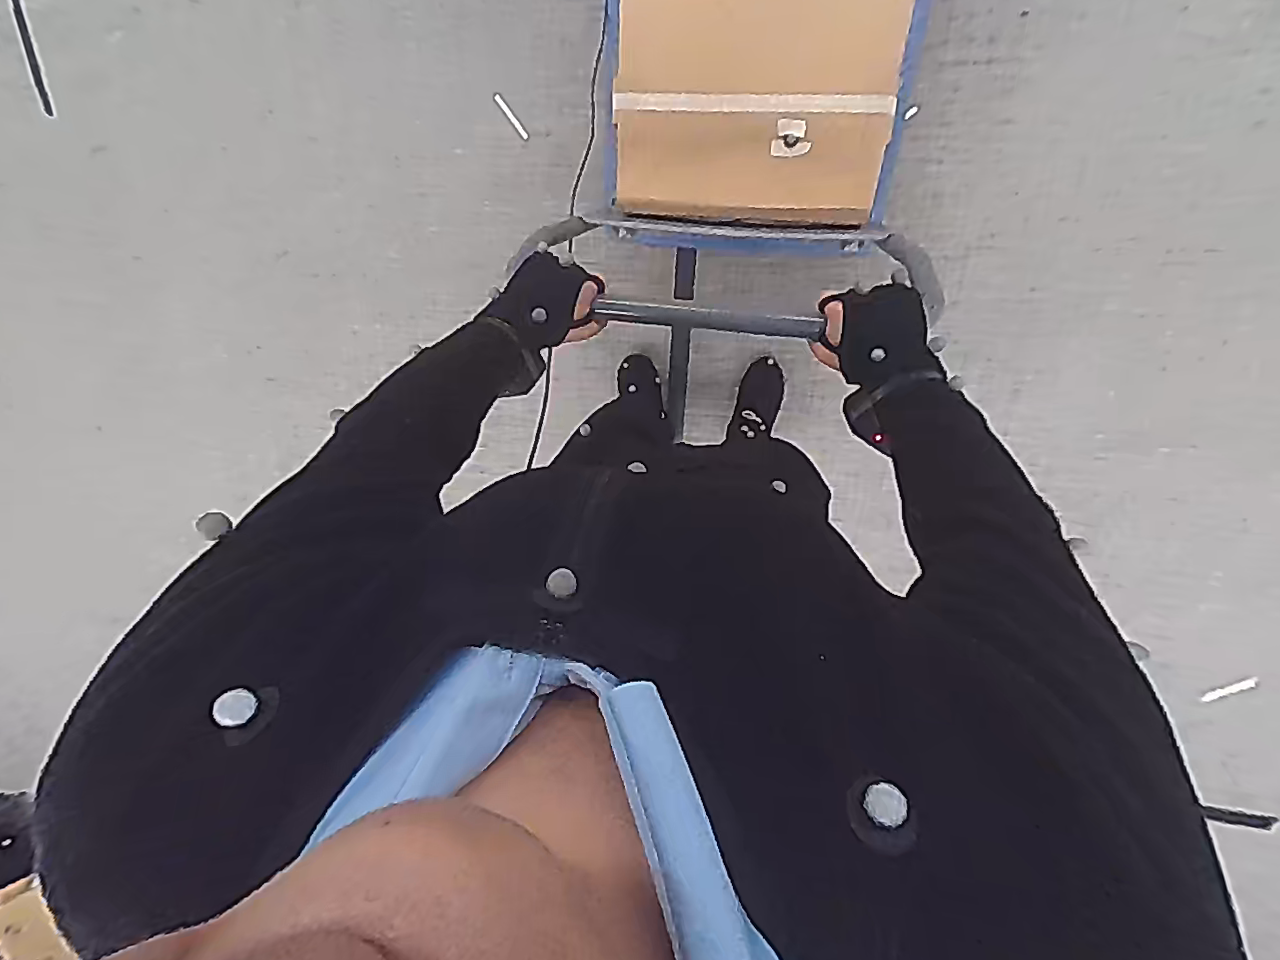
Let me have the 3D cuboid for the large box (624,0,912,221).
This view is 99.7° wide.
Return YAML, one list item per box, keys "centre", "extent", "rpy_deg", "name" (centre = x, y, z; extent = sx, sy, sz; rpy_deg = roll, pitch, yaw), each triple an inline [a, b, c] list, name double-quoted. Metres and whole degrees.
- centre: [0.196, -0.633, 0.944]
  extent: [0.408, 0.320, 0.320]
  rpy_deg: [7, 119, 8]
  name: "large box"
